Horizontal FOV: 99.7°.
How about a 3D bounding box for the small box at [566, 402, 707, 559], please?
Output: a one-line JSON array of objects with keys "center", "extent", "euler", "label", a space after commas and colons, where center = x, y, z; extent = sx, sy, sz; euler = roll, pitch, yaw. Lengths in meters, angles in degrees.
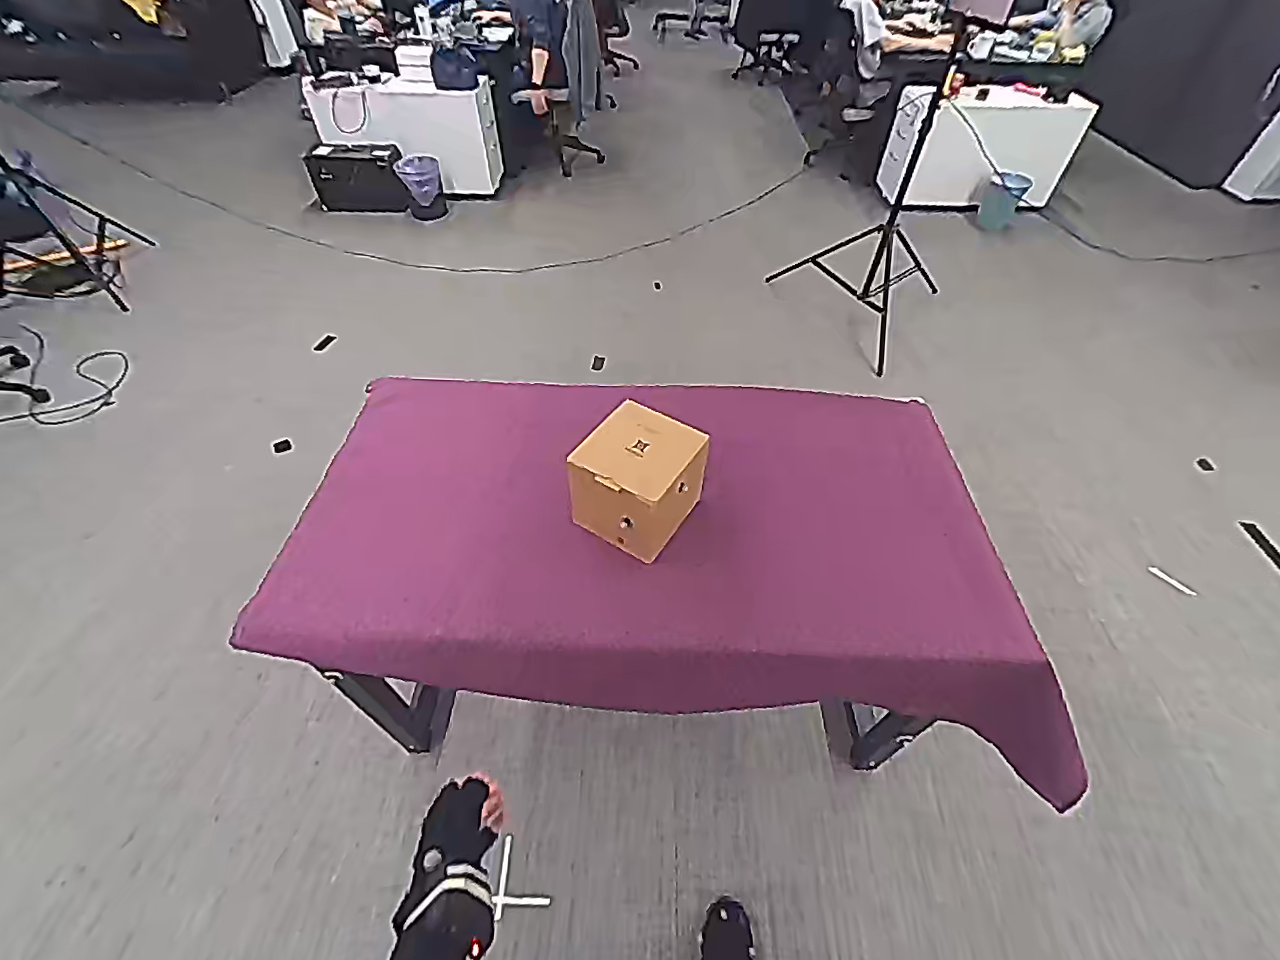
[{"center": [-0.003, 0.004, 0.924], "extent": [0.168, 0.176, 0.179], "euler": [26, 53, 20], "label": "small box"}]
